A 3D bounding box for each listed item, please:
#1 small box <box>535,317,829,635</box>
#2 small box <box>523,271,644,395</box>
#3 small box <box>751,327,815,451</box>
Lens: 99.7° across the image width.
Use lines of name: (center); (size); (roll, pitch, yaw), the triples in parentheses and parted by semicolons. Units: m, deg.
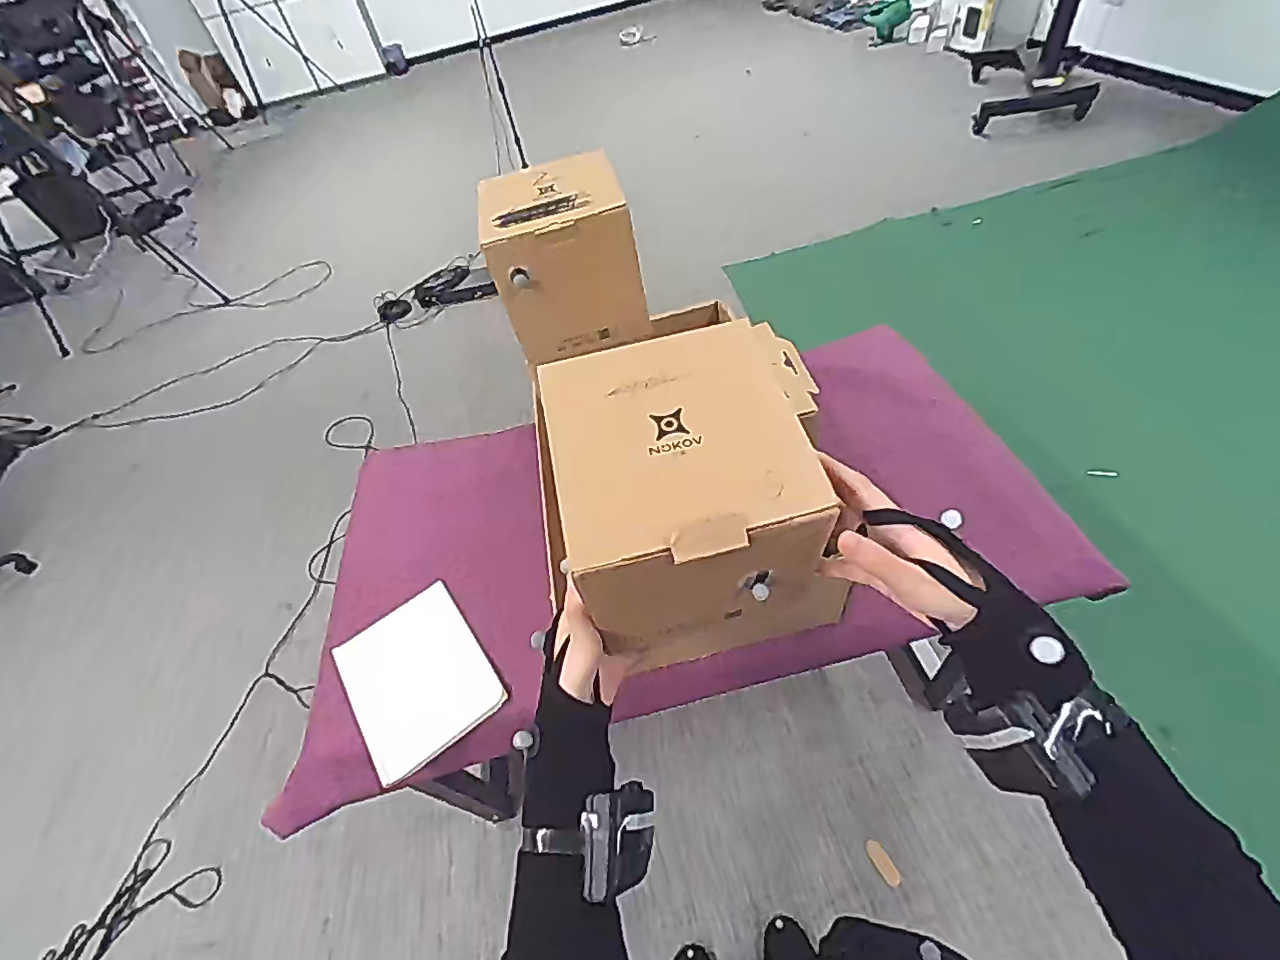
small box: (0.026, 0.008, 0.426); (0.168, 0.176, 0.179); (-13, 56, -3)
small box: (-0.071, -0.181, 0.822); (0.168, 0.176, 0.179); (-13, 50, 1)
small box: (0.099, -0.054, 0.665); (0.179, 0.176, 0.168); (-15, 47, 3)
